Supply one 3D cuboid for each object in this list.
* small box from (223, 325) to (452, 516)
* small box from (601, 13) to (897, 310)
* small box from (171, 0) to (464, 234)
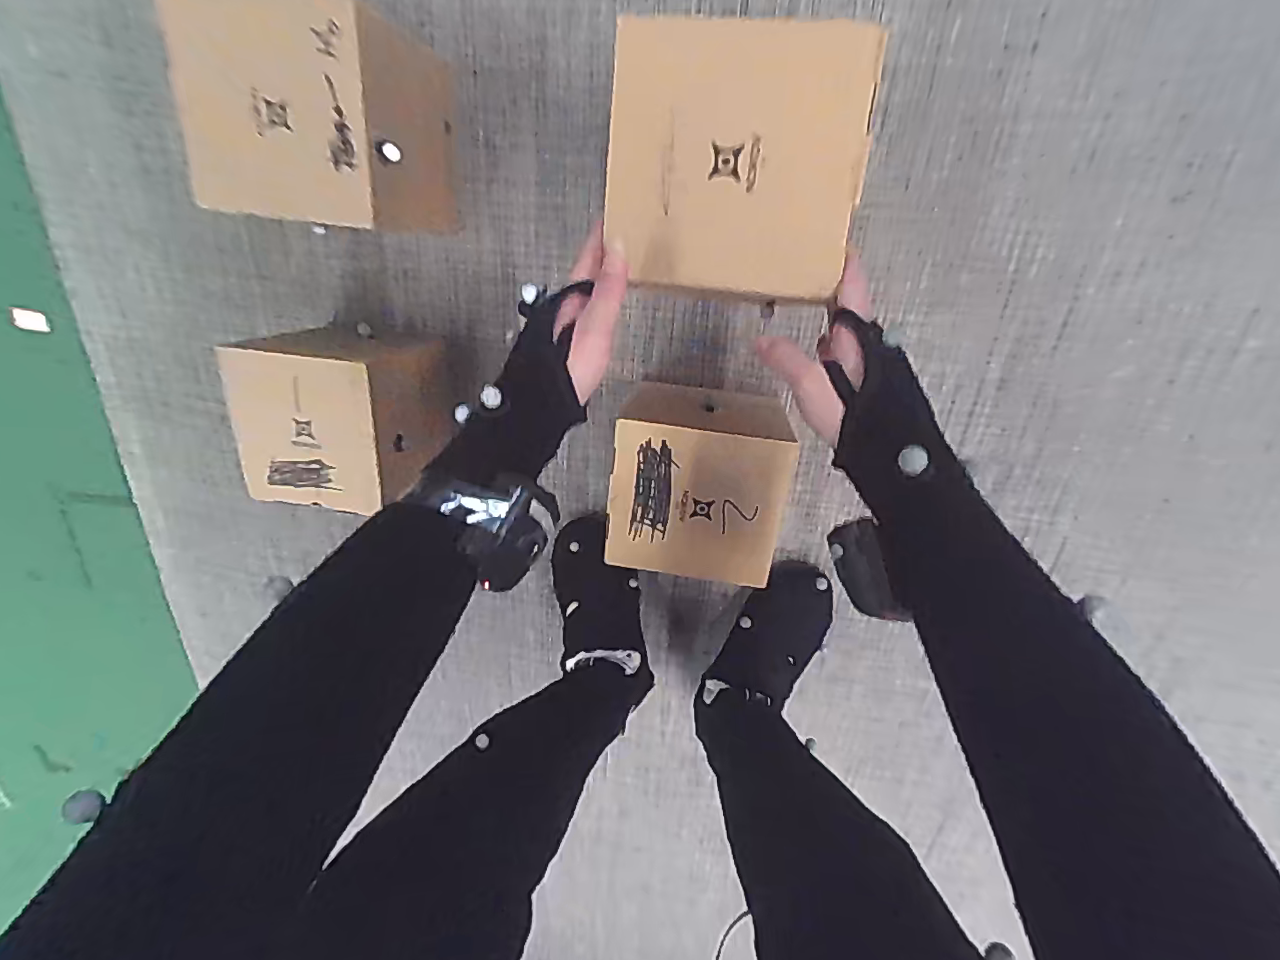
[{"bbox_3d":[-0.339,-0.080,0.647,0.168,0.176,0.179,8,113,5],"label":"small box"},{"bbox_3d":[0.077,-0.233,0.438,0.179,0.176,0.168,8,106,8],"label":"small box"},{"bbox_3d":[-0.294,-0.342,0.532,0.179,0.176,0.168,10,114,6],"label":"small box"}]
